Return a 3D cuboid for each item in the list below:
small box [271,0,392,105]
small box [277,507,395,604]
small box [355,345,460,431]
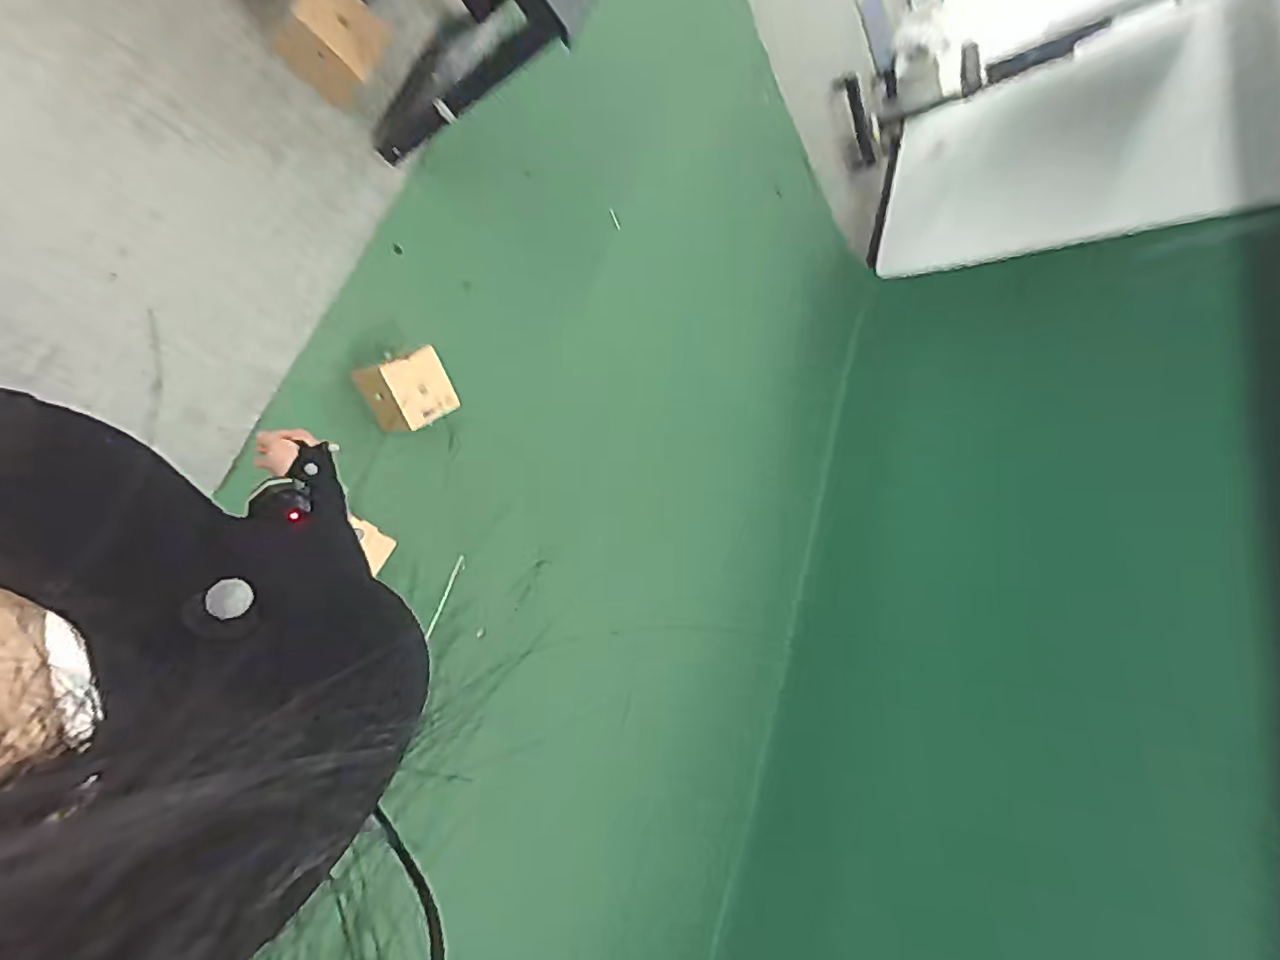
[{"bbox_3d":[-0.742,-1.057,1.297,0.179,0.176,0.168,35,67,-45],"label":"small box"},{"bbox_3d":[-0.756,0.181,1.341,0.168,0.176,0.179,46,59,-39],"label":"small box"},{"bbox_3d":[-0.633,-0.245,1.465,0.168,0.176,0.179,-41,121,-41],"label":"small box"}]
